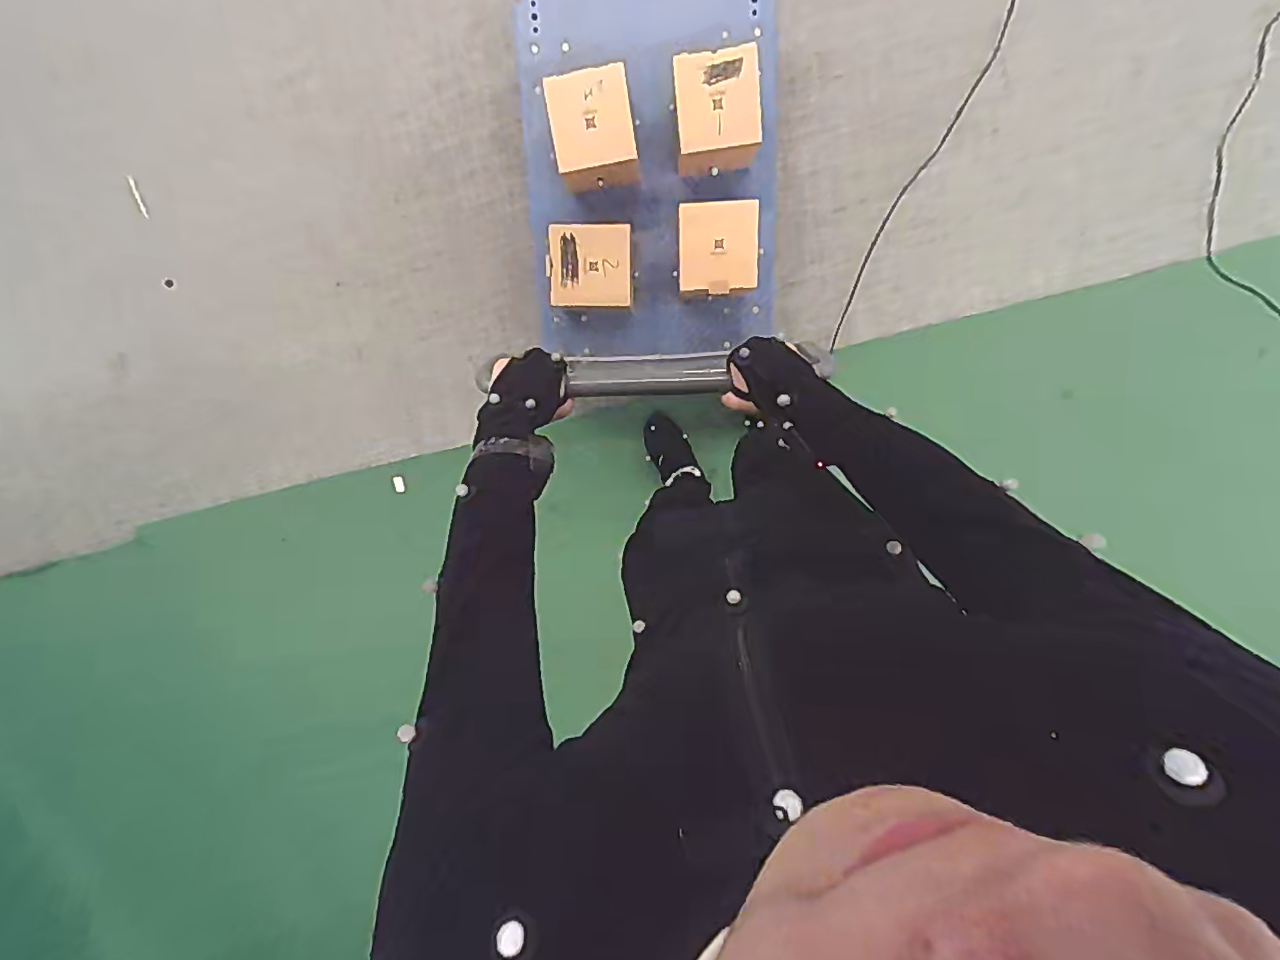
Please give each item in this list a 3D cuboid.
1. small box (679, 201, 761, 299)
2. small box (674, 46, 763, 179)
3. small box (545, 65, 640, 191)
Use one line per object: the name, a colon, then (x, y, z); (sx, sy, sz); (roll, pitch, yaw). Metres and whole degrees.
small box: (0.173, -0.506, 1.210); (0.168, 0.176, 0.179); (-2, 104, 3)
small box: (0.161, -0.766, 1.144); (0.168, 0.176, 0.179); (-6, 105, 5)
small box: (-0.093, -0.740, 1.162); (0.168, 0.176, 0.179); (-9, 104, 4)
